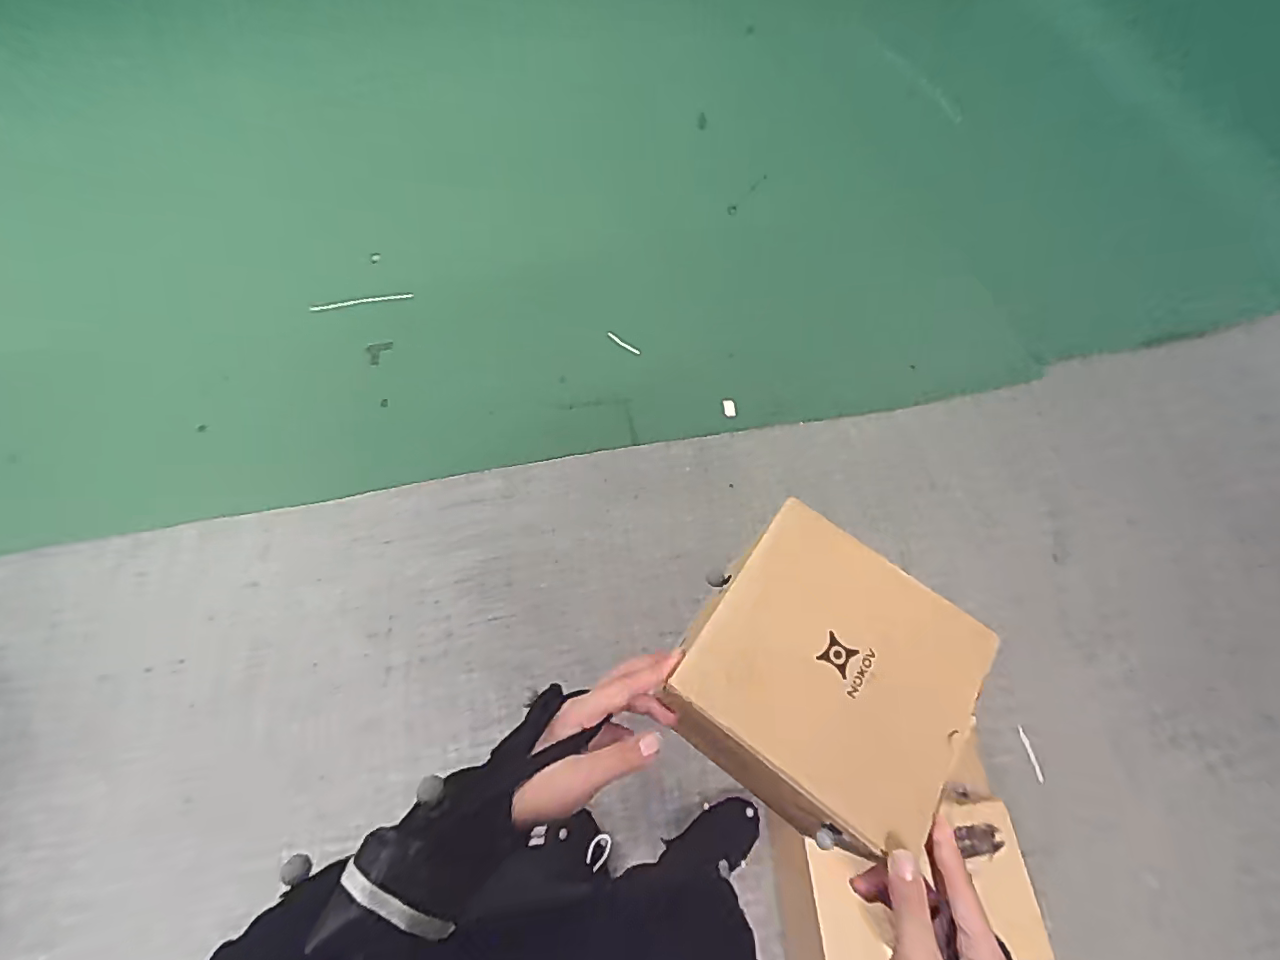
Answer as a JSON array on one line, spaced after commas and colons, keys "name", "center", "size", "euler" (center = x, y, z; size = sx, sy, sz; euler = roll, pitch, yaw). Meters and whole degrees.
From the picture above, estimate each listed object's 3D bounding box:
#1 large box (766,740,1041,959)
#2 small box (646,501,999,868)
[{"name": "large box", "center": [0.420, 0.684, 0.950], "size": [0.320, 0.320, 0.408], "euler": [-5, 67, -1]}, {"name": "small box", "center": [0.122, 0.153, 0.423], "size": [0.179, 0.176, 0.168], "euler": [35, 65, 9]}]
